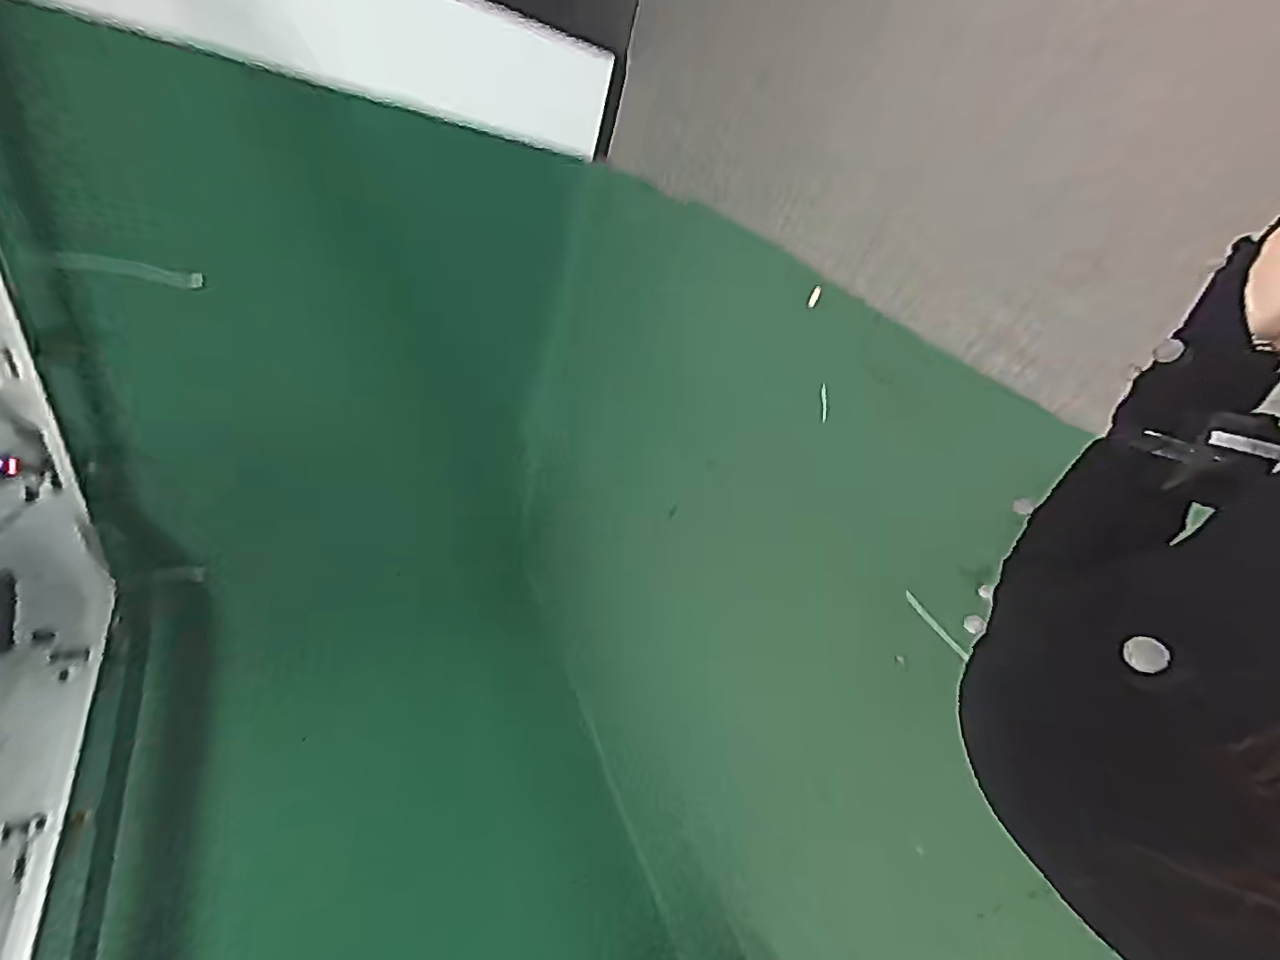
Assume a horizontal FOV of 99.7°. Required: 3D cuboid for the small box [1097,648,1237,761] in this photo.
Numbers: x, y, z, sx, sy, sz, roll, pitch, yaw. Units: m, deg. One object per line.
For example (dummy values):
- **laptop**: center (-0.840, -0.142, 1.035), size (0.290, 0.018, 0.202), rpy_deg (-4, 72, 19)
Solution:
- **small box**: center (1.073, 0.478, 1.126), size (0.168, 0.176, 0.179), rpy_deg (55, 137, 39)
